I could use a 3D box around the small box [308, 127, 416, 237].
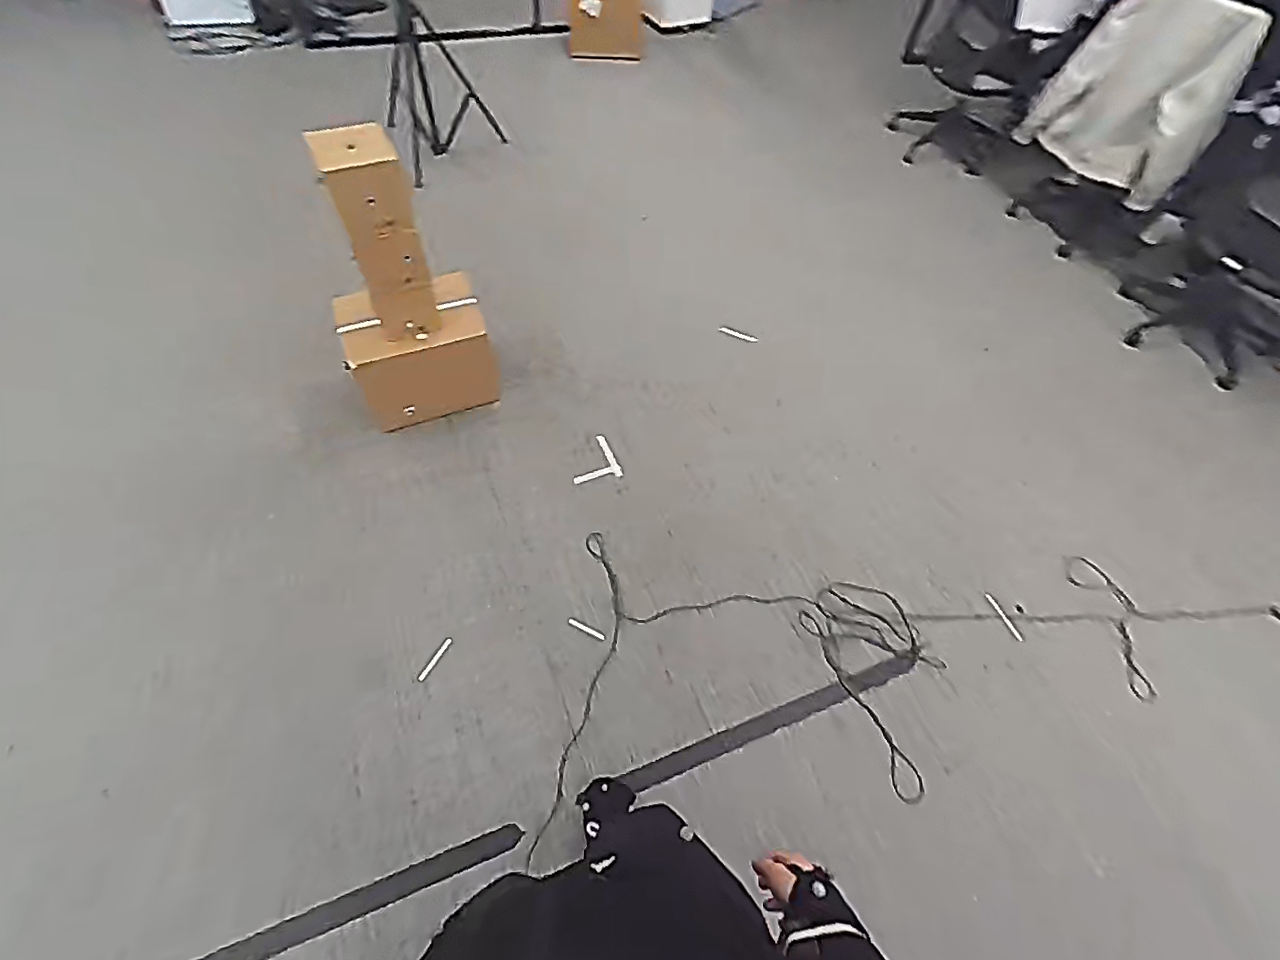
[{"bbox_3d":[-0.659,-0.707,1.299,0.168,0.176,0.179,-23,63,-21],"label":"small box"}]

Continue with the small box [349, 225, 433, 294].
[{"bbox_3d":[-0.668,-0.616,1.437,0.168,0.176,0.179,-20,61,-18],"label":"small box"}]

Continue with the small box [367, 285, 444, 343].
[{"bbox_3d":[-0.688,-0.532,1.574,0.168,0.176,0.179,-19,62,-17],"label":"small box"}]
